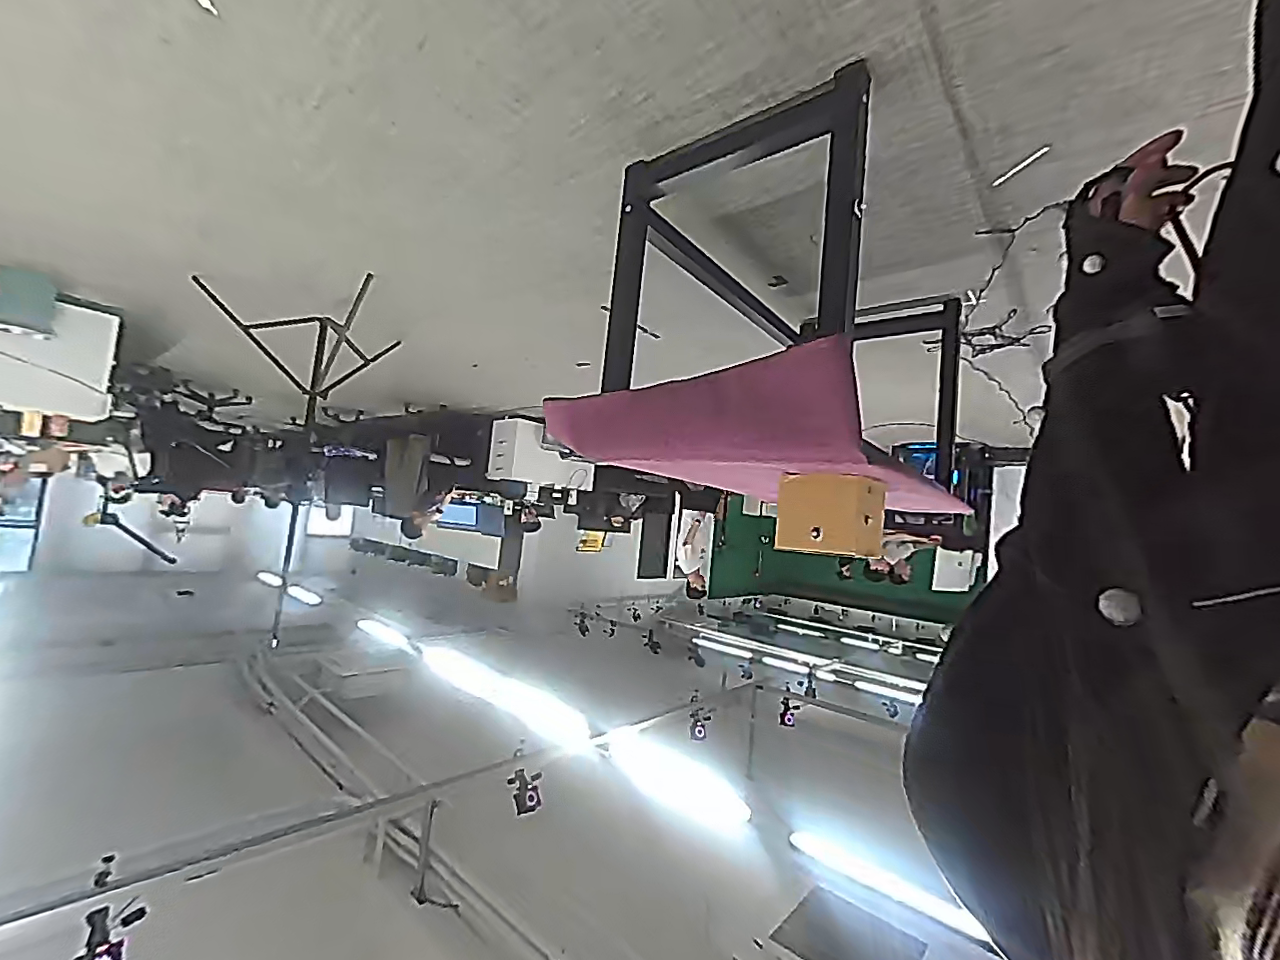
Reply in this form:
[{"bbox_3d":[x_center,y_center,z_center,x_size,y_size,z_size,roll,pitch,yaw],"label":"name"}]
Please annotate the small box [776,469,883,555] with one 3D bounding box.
[{"bbox_3d":[0.413,0.067,1.166,0.179,0.176,0.168,2,175,42],"label":"small box"}]
